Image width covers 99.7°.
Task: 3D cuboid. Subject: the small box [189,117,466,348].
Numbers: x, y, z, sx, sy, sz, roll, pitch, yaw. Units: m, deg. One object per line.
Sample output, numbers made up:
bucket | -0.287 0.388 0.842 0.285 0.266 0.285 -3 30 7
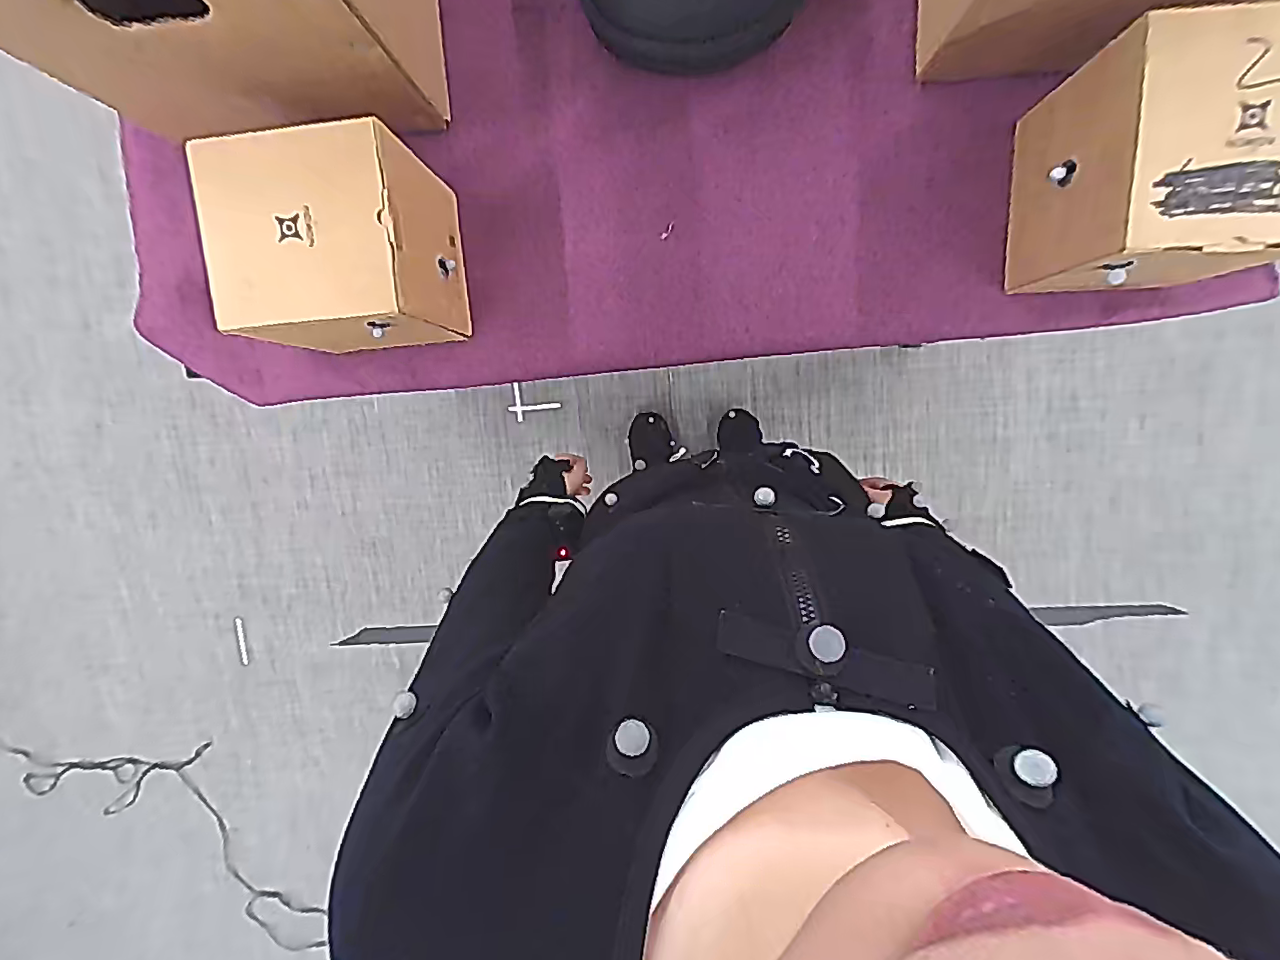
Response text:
small box | -0.305 -0.237 0.563 0.179 0.176 0.168 -5 97 4

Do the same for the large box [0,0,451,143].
large box | -0.384 -0.564 0.448 0.320 0.320 0.408 -4 101 3
